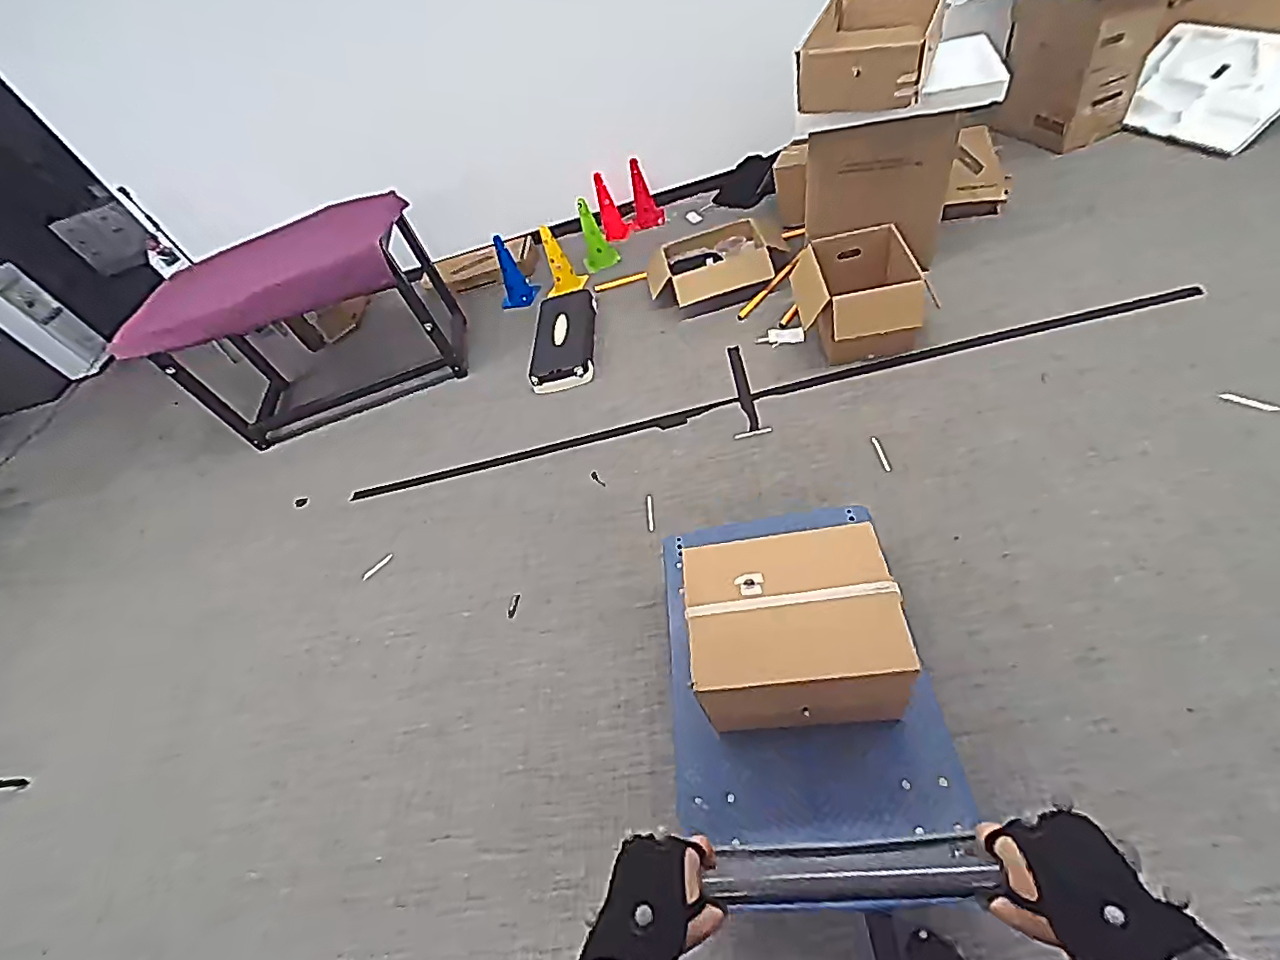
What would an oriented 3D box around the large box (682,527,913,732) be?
[{"bbox_3d":[0.331,0.343,1.198,0.408,0.320,0.320,-11,49,12],"label":"large box"}]
